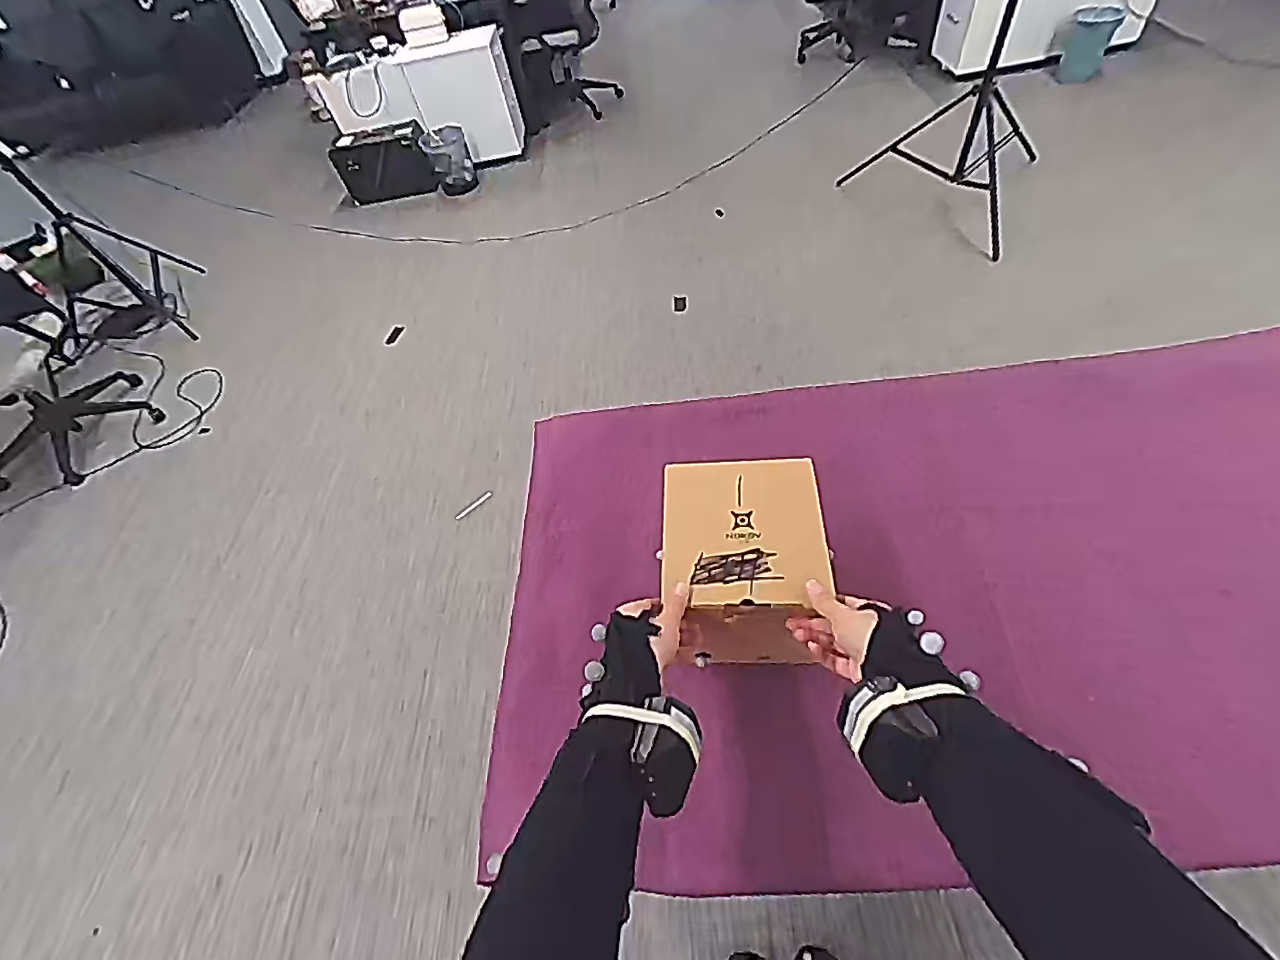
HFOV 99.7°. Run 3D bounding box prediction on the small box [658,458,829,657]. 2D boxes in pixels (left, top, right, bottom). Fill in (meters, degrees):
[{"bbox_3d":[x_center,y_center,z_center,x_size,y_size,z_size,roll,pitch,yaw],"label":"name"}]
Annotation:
[{"bbox_3d":[0.114,0.096,0.626,0.168,0.176,0.179,-2,53,8],"label":"small box"}]
